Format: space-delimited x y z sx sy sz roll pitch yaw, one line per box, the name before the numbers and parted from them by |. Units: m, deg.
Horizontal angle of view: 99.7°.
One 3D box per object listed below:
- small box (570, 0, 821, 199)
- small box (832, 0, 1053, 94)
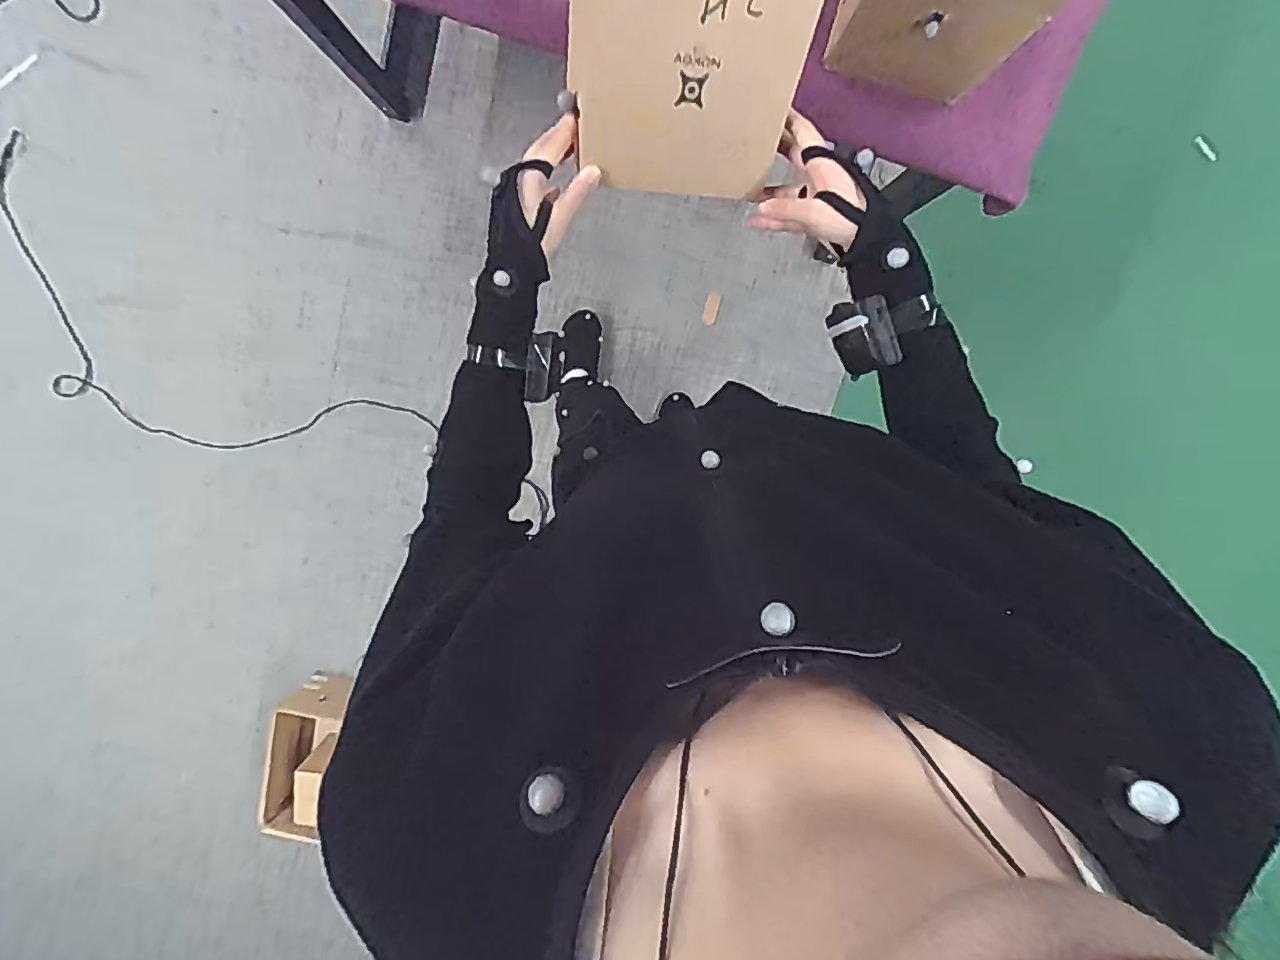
small box | 0.030 -0.371 0.458 0.168 0.176 0.179 -2 141 -12
small box | 0.335 -0.555 0.580 0.179 0.176 0.168 15 101 0
